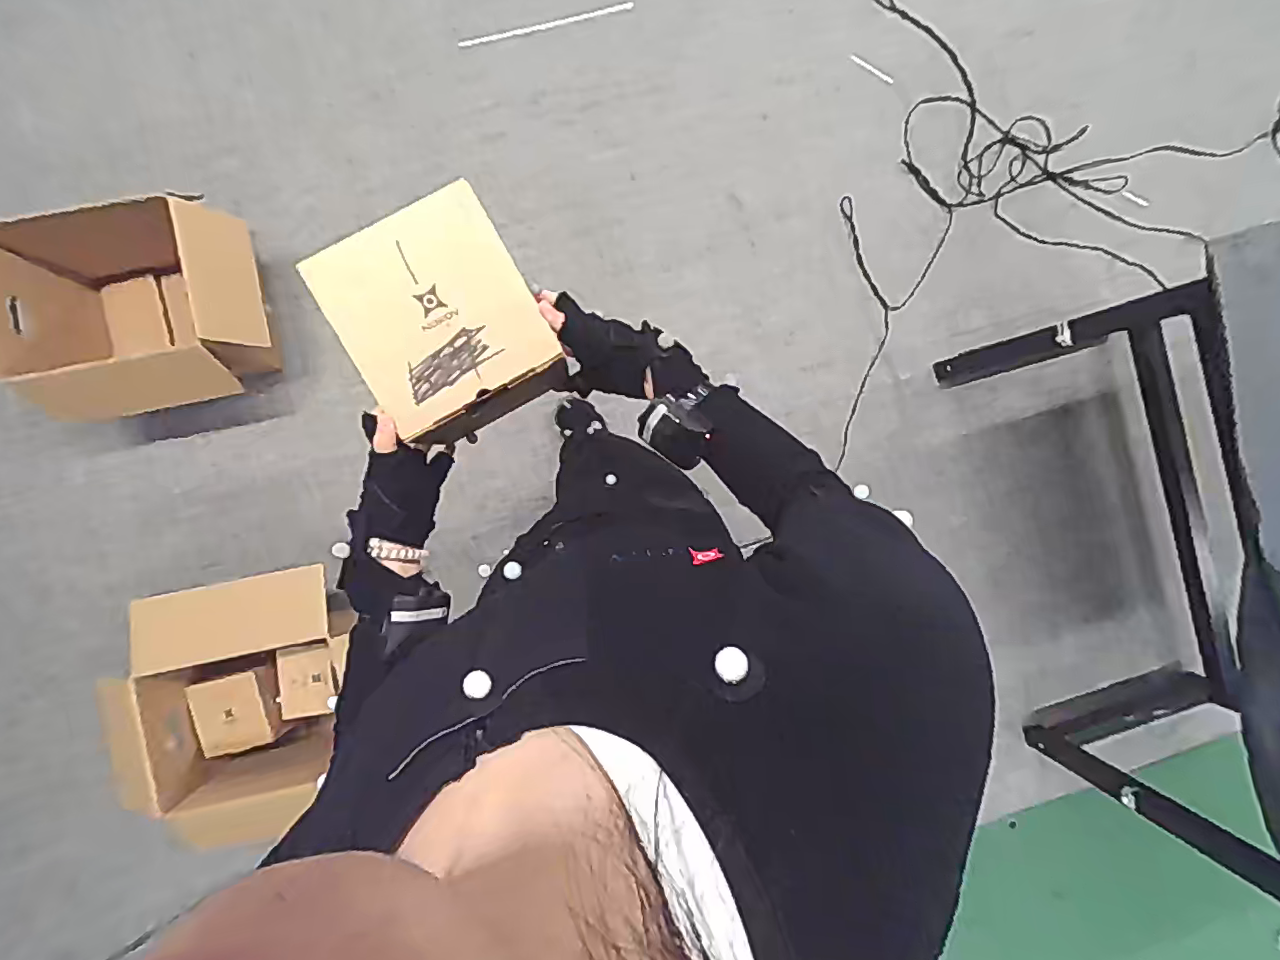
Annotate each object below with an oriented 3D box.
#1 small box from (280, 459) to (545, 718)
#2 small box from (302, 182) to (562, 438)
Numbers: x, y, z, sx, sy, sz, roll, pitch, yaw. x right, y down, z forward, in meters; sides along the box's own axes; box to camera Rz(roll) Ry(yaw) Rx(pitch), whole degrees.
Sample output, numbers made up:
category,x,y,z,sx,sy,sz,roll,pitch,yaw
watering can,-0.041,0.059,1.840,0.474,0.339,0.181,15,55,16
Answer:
category,x,y,z,sx,sy,sz,roll,pitch,yaw
small box,-0.227,0.117,0.546,0.168,0.176,0.179,34,46,-23
small box,-0.192,-0.157,0.562,0.168,0.176,0.179,-30,95,-4
